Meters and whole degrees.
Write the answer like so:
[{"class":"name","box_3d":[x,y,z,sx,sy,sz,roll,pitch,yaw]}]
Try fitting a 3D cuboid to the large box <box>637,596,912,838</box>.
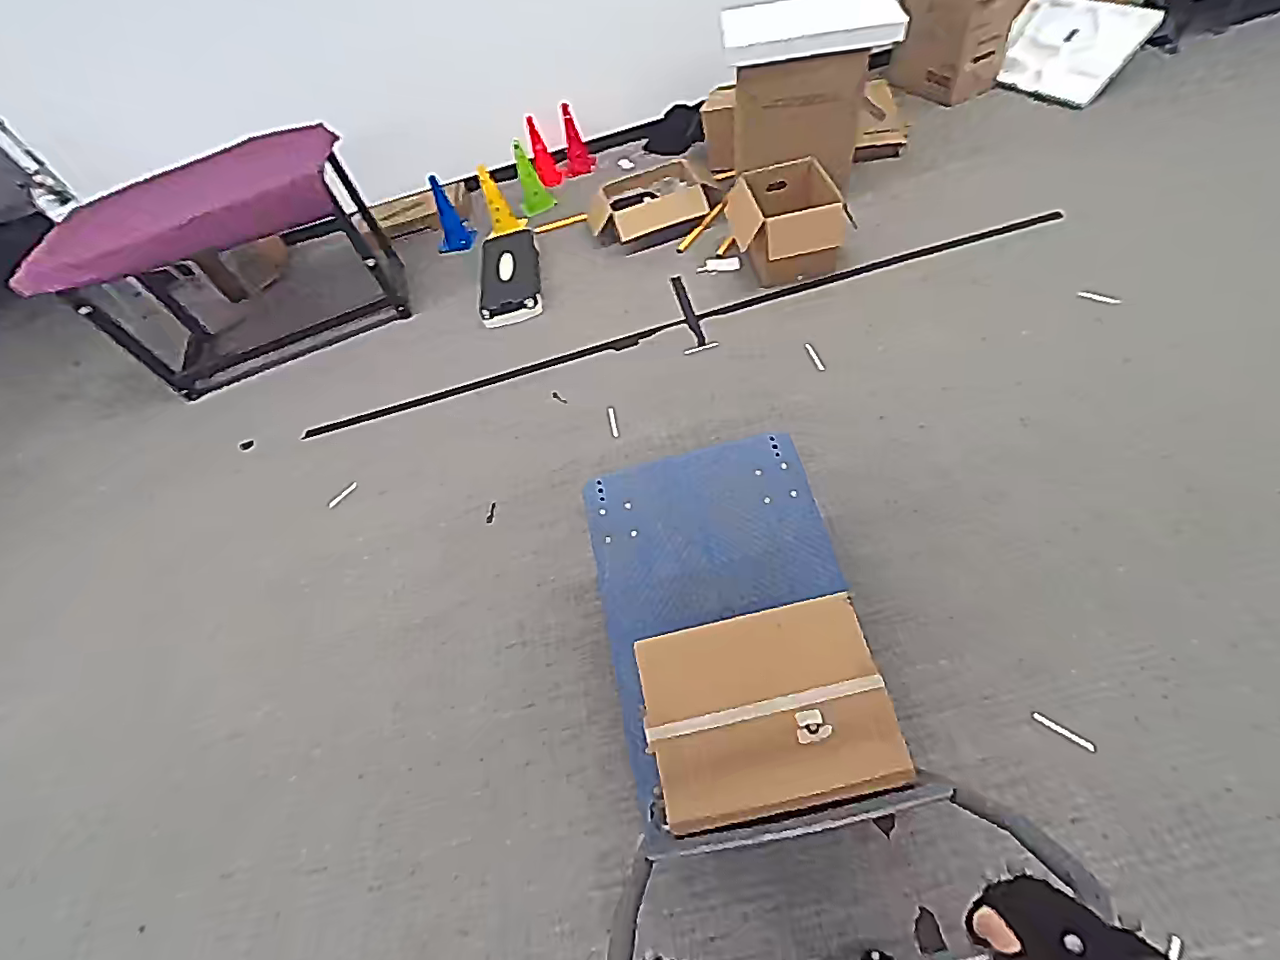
[{"class":"large box","box_3d":[0.235,0.458,1.074,0.408,0.320,0.320,-15,67,1]}]
